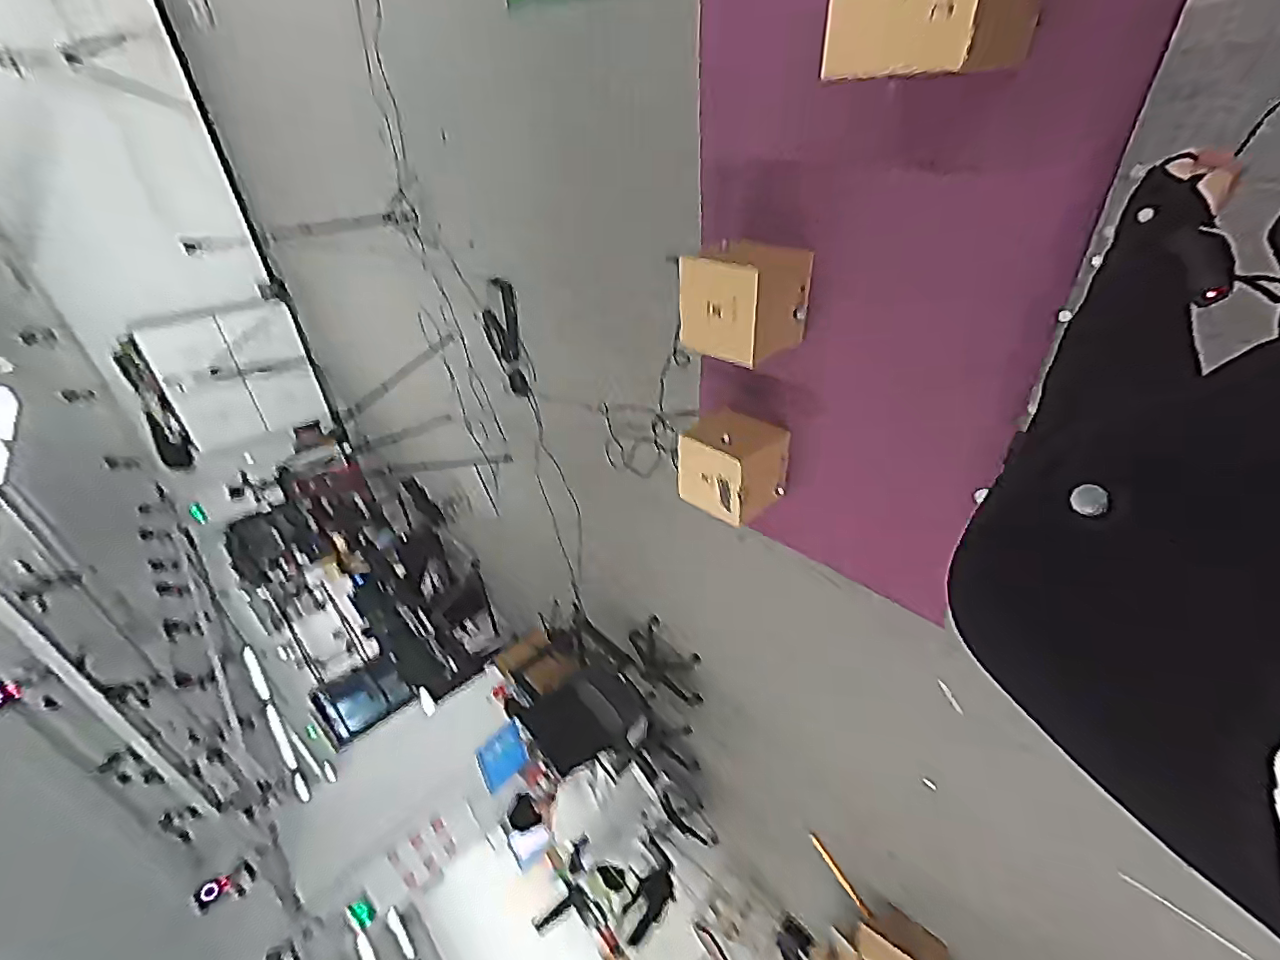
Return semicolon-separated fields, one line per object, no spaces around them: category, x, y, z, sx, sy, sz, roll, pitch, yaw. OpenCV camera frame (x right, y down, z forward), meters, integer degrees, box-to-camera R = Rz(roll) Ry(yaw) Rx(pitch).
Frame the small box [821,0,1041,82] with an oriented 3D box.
small box;0.342;-0.565;0.625;0.179;0.176;0.168;32;138;39

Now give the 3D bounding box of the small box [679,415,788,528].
small box;0.207;-0.028;1.198;0.179;0.176;0.168;29;134;40

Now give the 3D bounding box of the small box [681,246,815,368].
small box;0.195;-0.328;1.003;0.179;0.176;0.168;29;135;38
